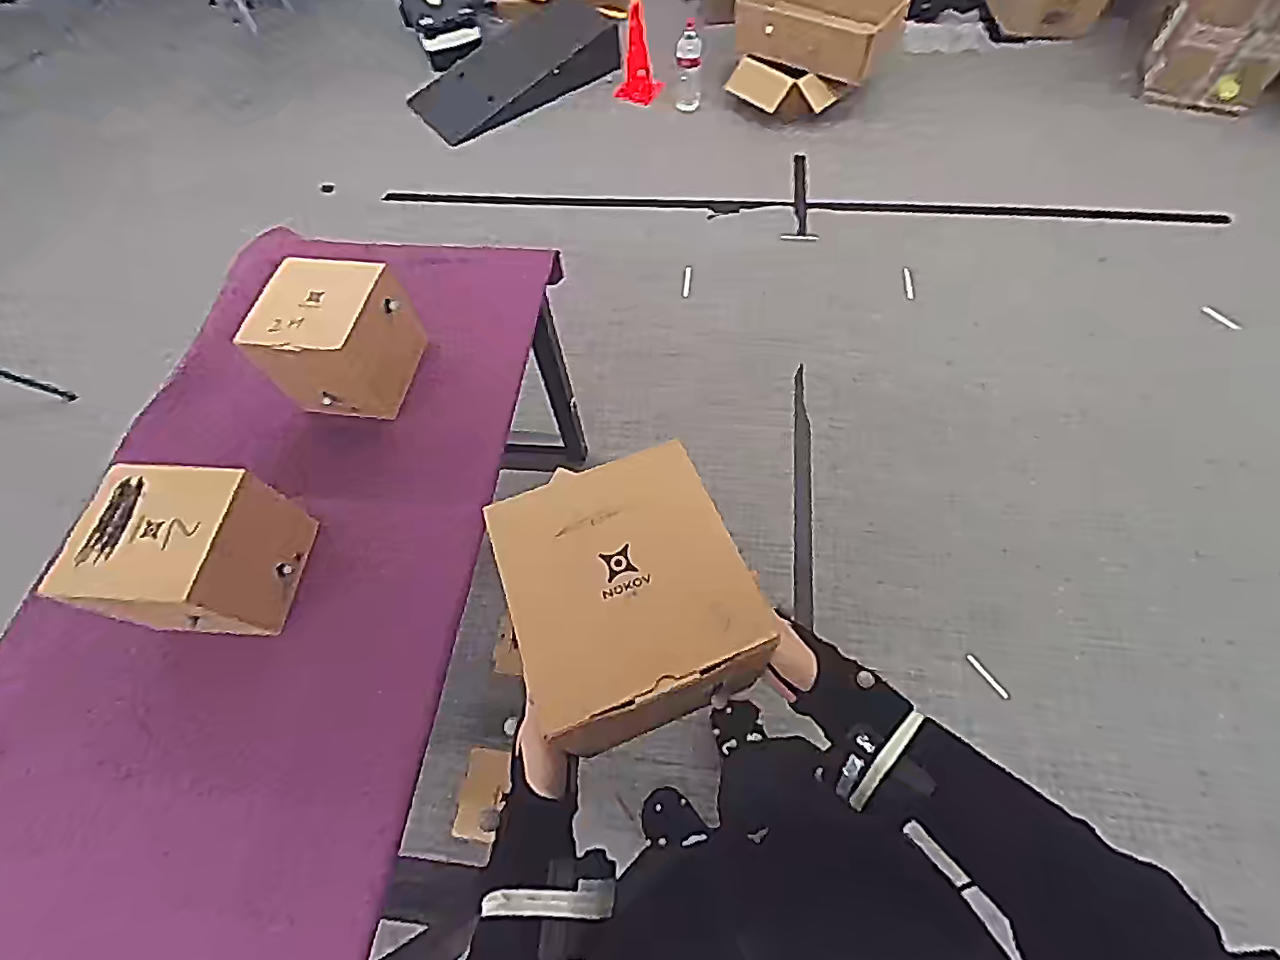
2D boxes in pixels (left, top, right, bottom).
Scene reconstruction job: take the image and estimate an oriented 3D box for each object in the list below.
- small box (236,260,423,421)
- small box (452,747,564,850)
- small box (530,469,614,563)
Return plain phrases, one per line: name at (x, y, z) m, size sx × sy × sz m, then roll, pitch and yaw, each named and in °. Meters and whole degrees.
small box at (-0.469, -0.217, 0.853) m, size 0.168 × 0.176 × 0.179 m, roll 6°, pitch 63°, yaw 7°
small box at (-0.279, 0.694, 1.188) m, size 0.179 × 0.176 × 0.168 m, roll 5°, pitch 62°, yaw 7°
small box at (-0.179, 0.103, 1.496) m, size 0.168 × 0.176 × 0.179 m, roll 20°, pitch 66°, yaw 12°
